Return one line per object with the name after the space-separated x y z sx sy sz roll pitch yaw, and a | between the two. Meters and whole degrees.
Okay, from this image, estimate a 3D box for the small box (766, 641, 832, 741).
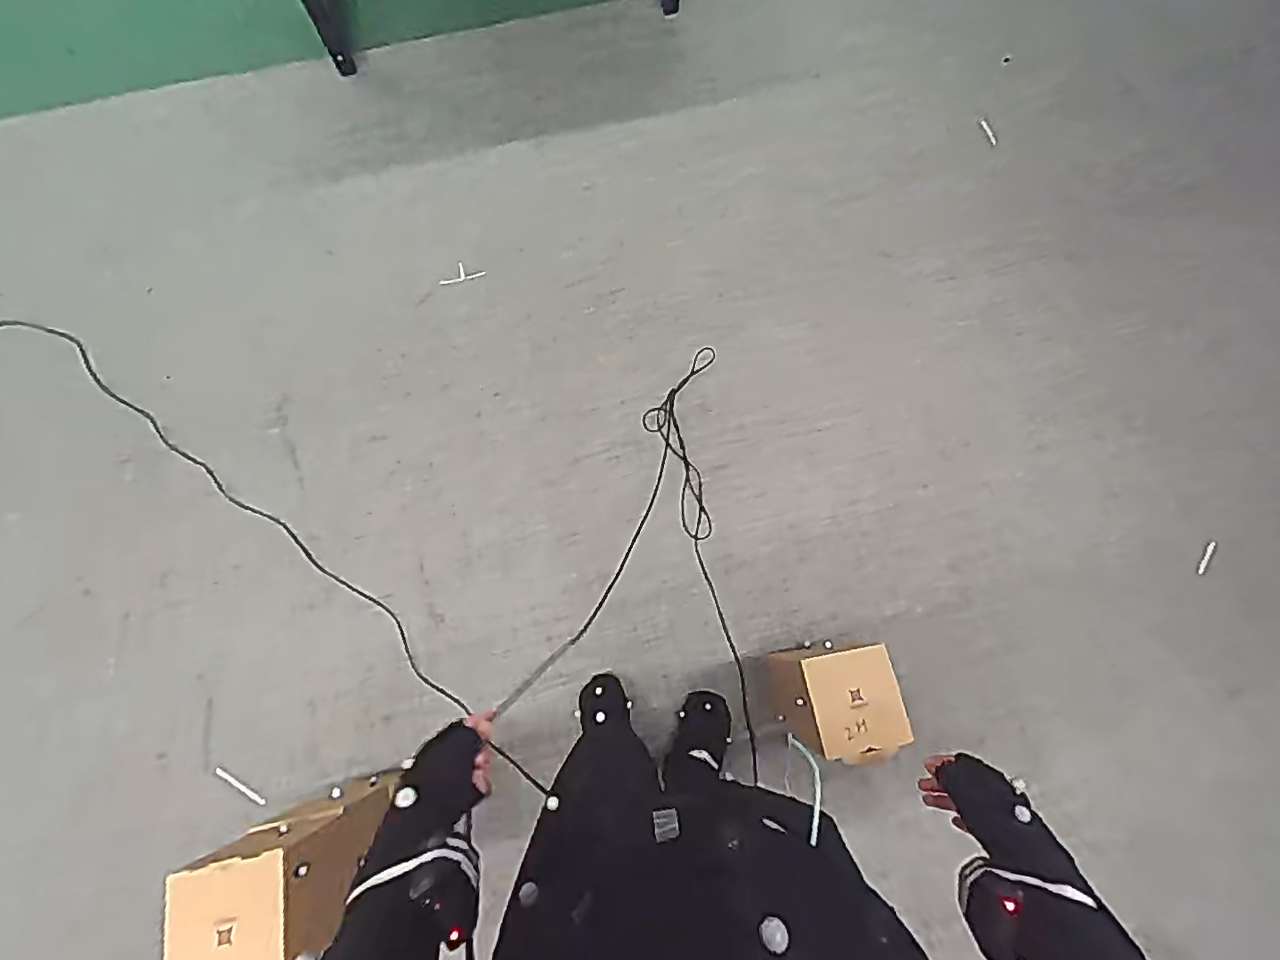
0.391 0.461 1.203 0.168 0.176 0.179 -8 74 -3 | small box

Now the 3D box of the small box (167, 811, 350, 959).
-0.565 0.640 0.822 0.168 0.176 0.179 -12 74 -3 | small box

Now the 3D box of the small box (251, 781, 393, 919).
-0.567 0.676 0.981 0.168 0.176 0.179 -11 74 -3 | small box

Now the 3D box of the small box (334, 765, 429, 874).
-0.559 0.720 1.139 0.179 0.176 0.168 -12 74 -3 | small box

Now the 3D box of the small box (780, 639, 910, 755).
0.388 0.416 1.062 0.168 0.176 0.179 -10 75 -3 | small box
